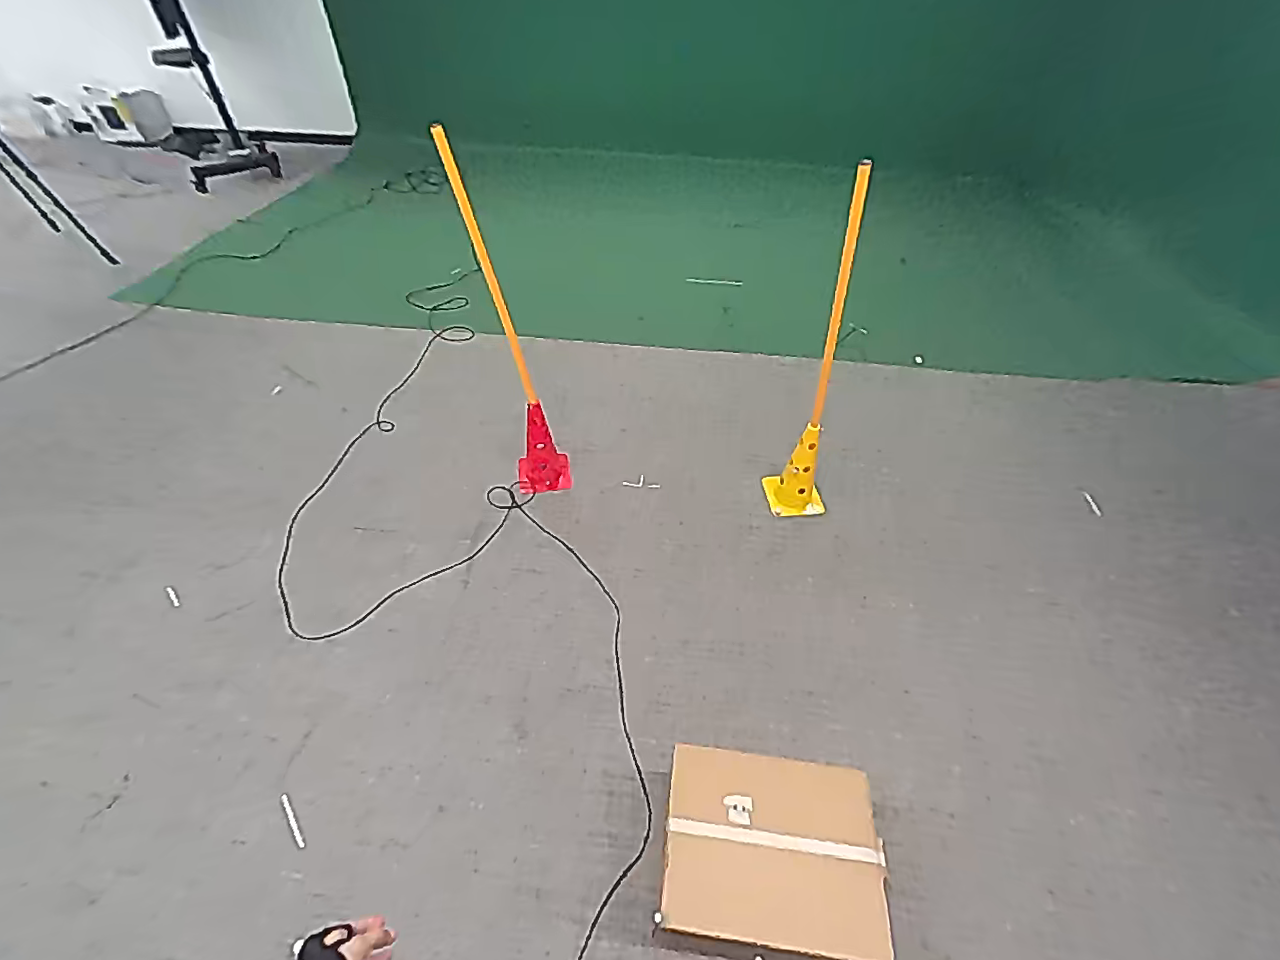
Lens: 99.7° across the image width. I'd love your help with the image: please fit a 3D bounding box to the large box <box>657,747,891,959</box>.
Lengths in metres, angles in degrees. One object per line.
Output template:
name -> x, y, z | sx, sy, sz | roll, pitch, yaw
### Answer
large box -> 0.253, 0.802, 1.145 | 0.408, 0.320, 0.320 | 6, 45, 5
